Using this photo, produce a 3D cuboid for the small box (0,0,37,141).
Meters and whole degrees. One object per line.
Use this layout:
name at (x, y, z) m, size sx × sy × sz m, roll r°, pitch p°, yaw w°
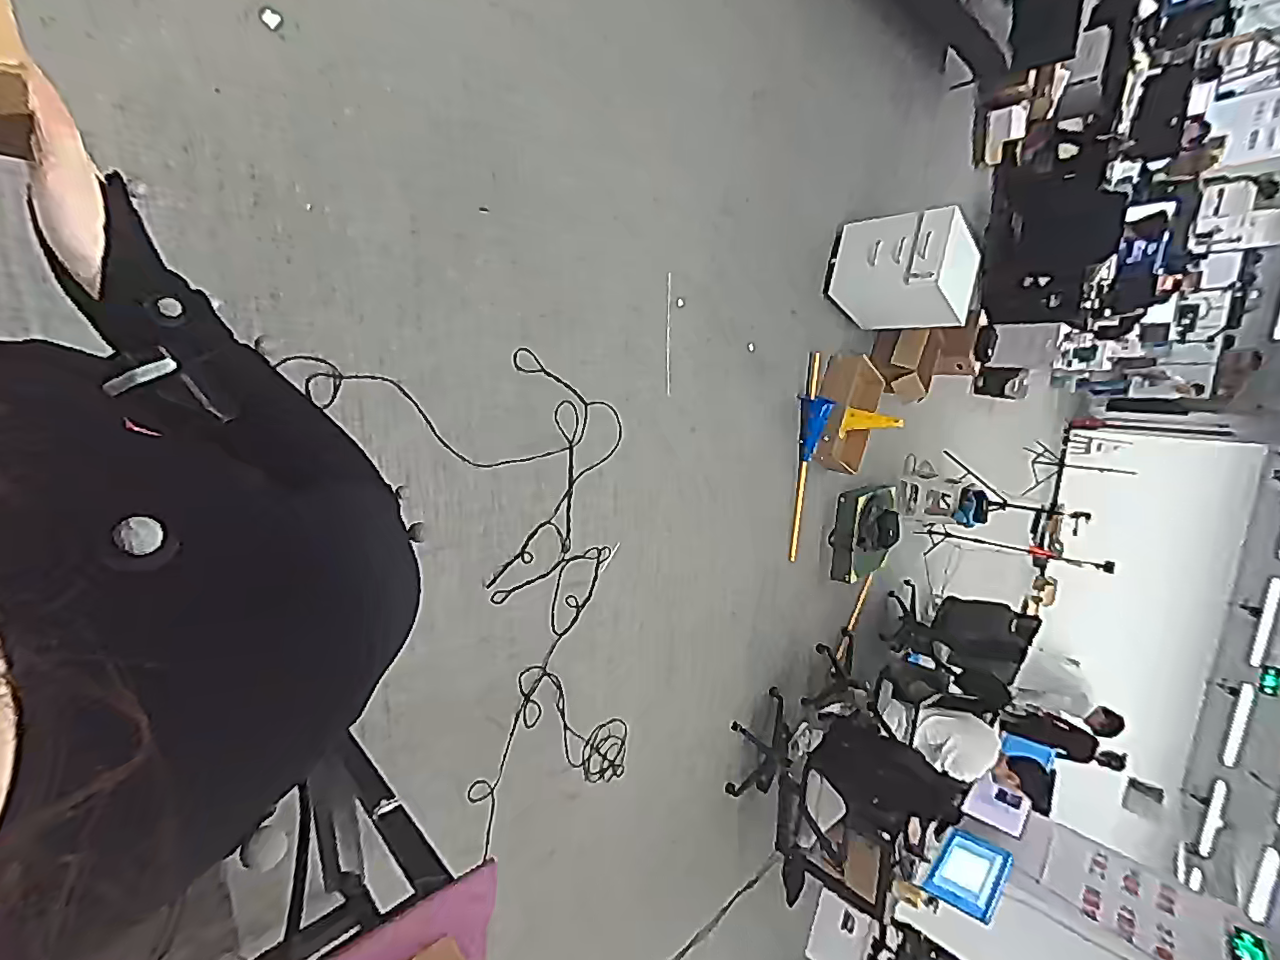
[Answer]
small box at (-0.421, -0.289, 0.246) m, size 0.168 × 0.176 × 0.179 m, roll -16°, pitch 111°, yaw -45°
